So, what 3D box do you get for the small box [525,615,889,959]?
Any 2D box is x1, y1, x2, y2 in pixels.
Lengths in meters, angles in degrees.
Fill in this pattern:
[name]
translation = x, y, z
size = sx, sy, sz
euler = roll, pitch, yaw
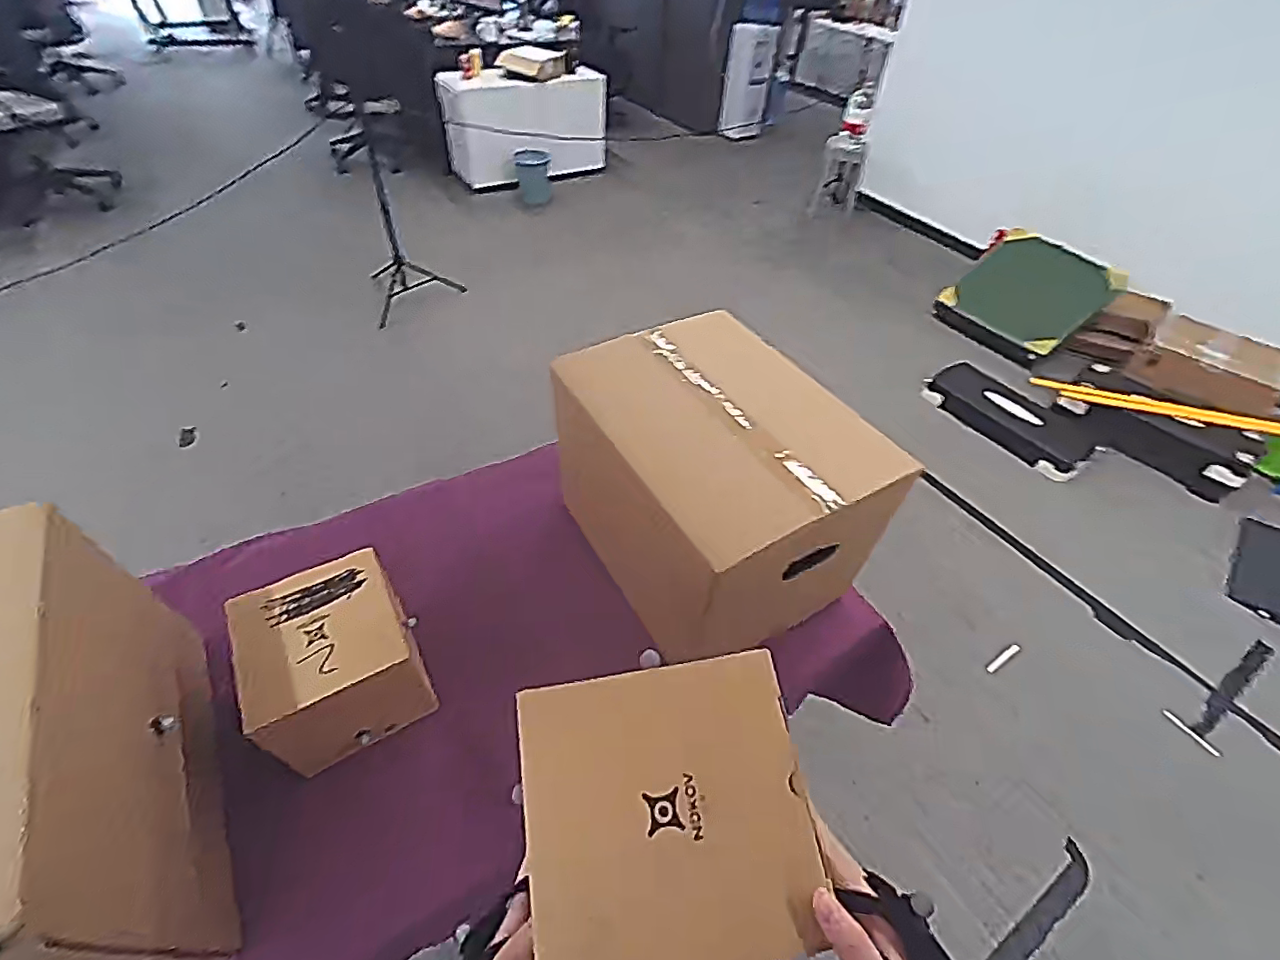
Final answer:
[small box]
translation = 0.032, 0.219, 0.365
size = 0.168, 0.176, 0.179
euler = 2, 43, -27
